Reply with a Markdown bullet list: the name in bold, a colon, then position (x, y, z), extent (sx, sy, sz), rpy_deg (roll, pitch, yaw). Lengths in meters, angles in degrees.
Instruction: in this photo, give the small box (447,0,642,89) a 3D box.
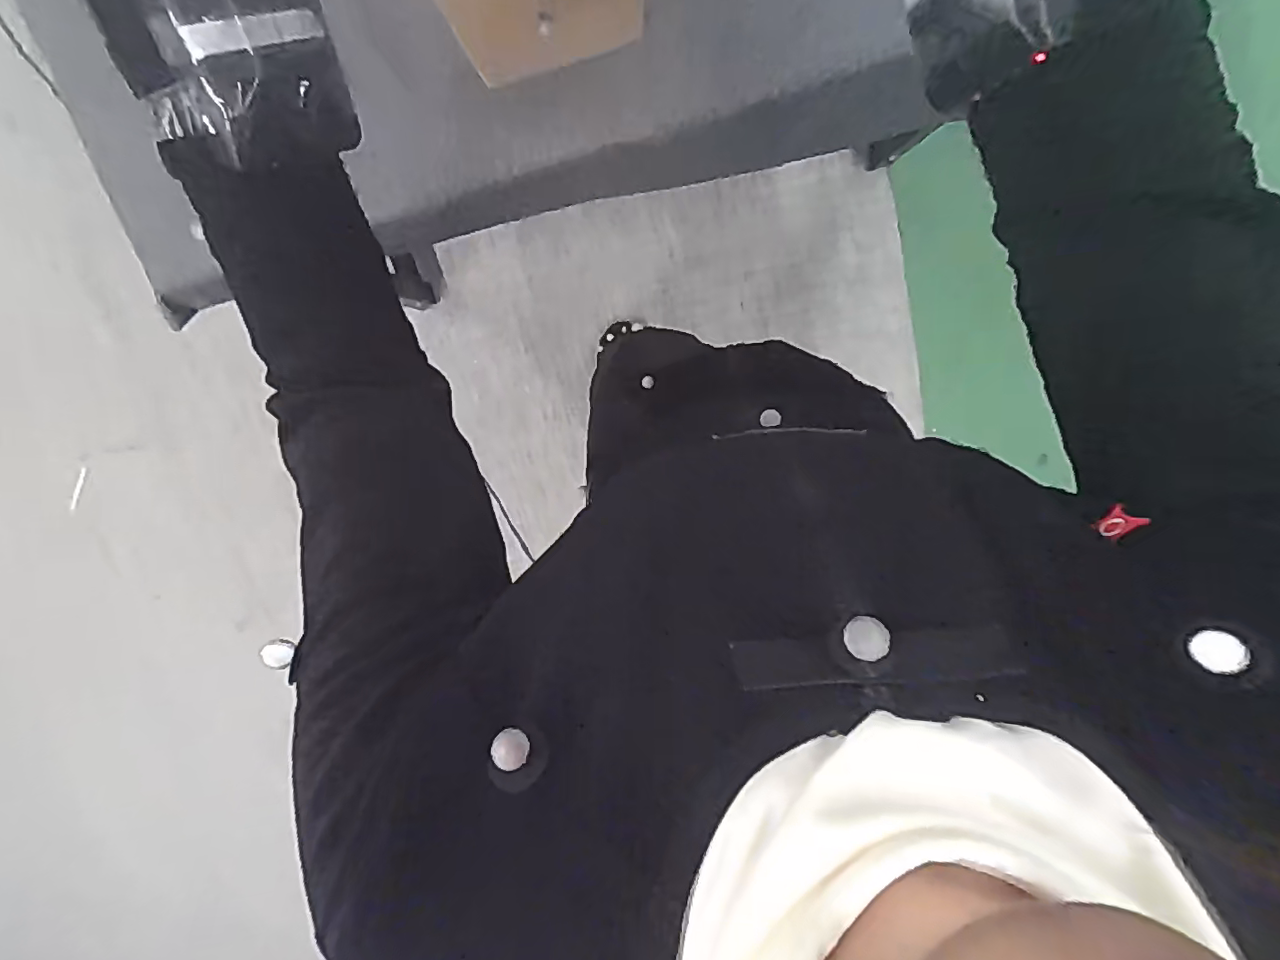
- **small box**: position (-0.099, -0.503, 0.489), extent (0.179, 0.176, 0.168), rpy_deg (-18, 103, 4)
